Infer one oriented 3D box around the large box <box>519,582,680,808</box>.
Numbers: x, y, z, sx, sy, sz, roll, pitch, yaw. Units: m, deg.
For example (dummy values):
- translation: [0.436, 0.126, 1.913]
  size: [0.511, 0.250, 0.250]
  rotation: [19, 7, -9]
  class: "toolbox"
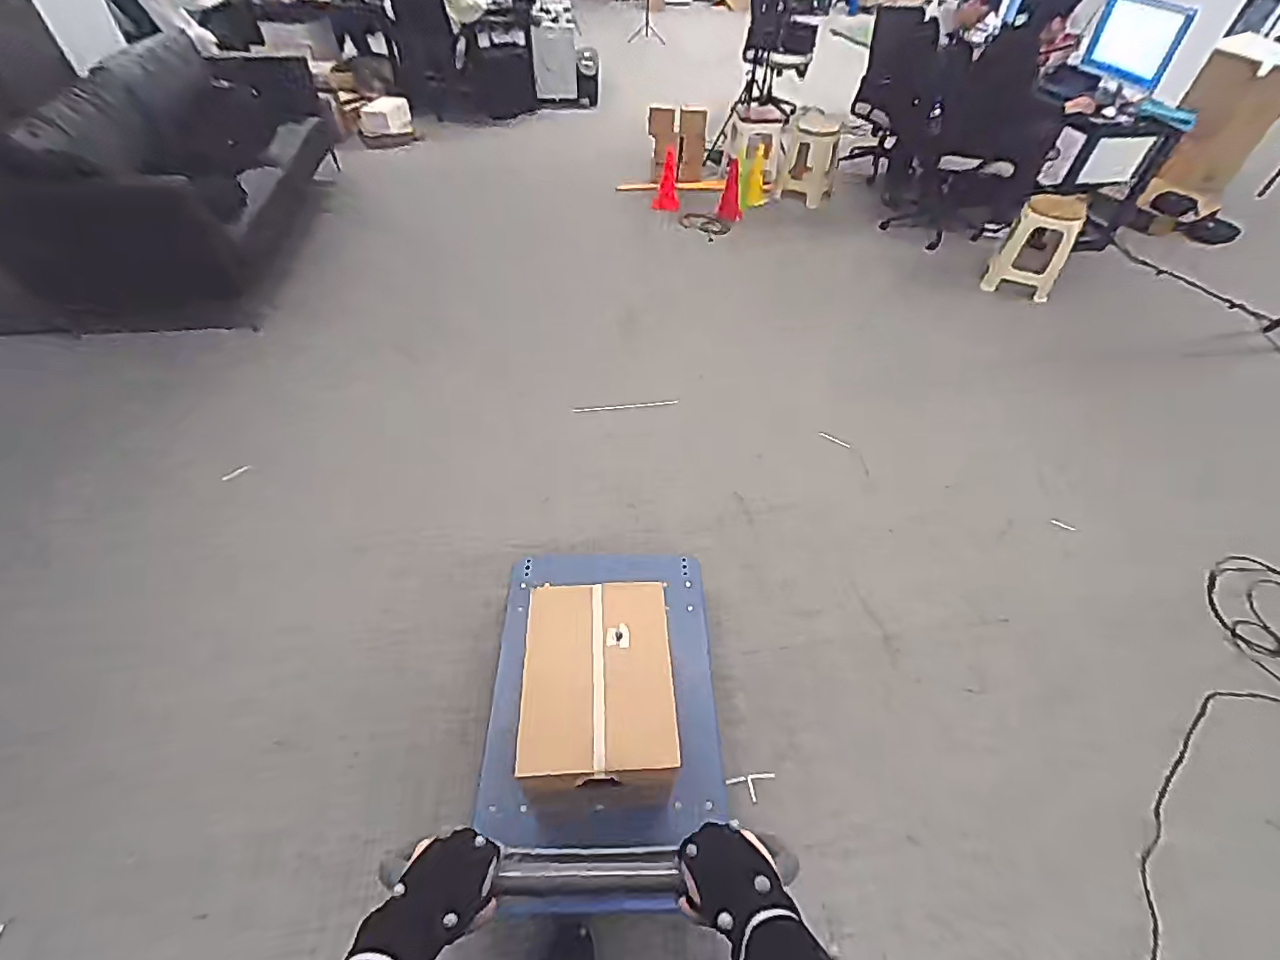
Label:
- translation: [-0.092, 0.498, 1.264]
  size: [0.320, 0.320, 0.408]
  rotation: [-2, 48, -4]
  class: "large box"
